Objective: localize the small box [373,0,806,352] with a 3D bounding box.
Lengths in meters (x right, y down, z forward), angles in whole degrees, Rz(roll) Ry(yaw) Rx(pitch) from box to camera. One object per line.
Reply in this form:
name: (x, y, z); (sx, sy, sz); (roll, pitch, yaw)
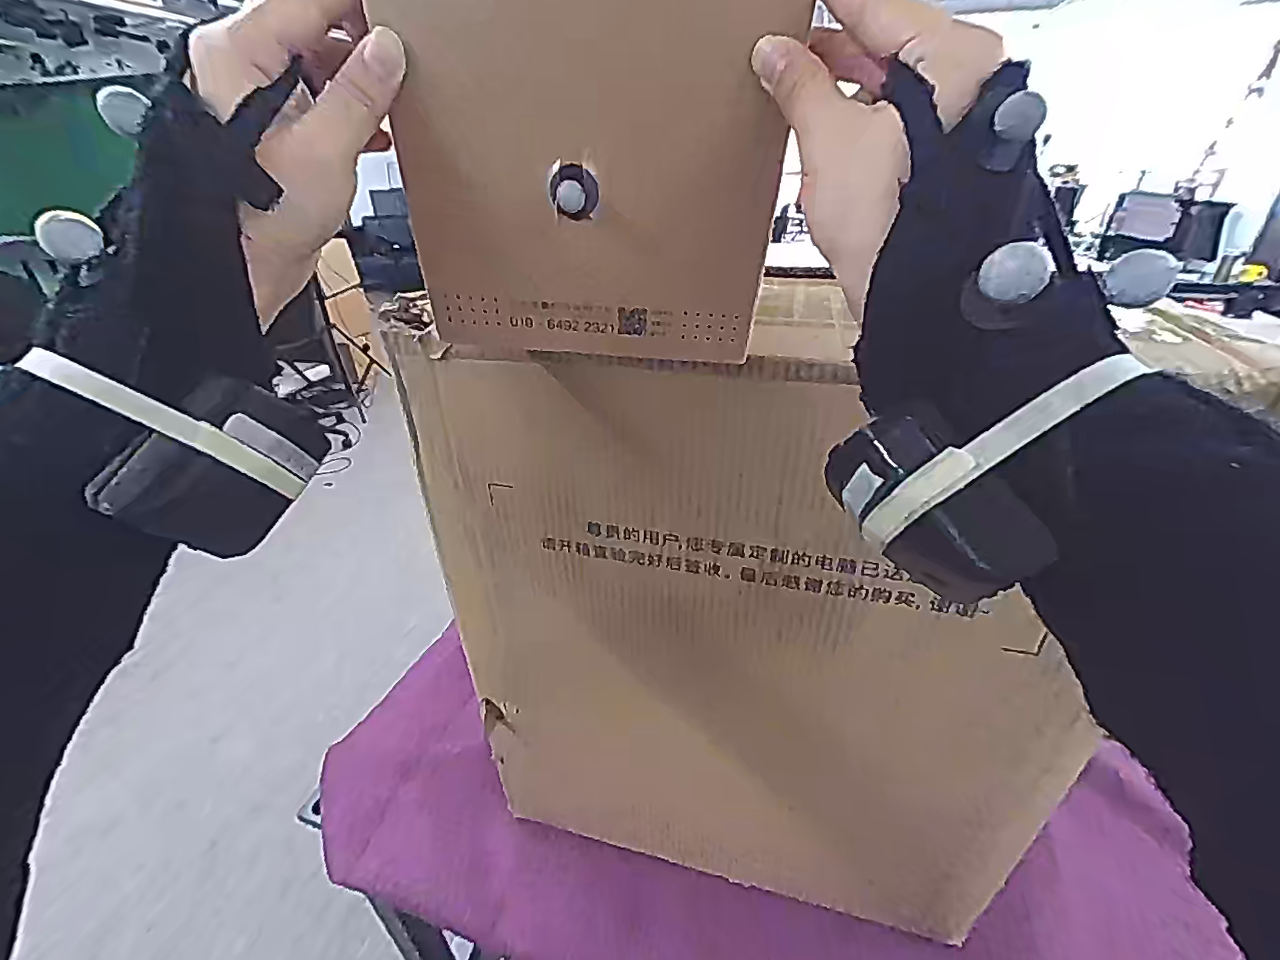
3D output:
small box: (-0.014, -0.186, 0.300); (0.168, 0.176, 0.179); (5, 41, 1)
